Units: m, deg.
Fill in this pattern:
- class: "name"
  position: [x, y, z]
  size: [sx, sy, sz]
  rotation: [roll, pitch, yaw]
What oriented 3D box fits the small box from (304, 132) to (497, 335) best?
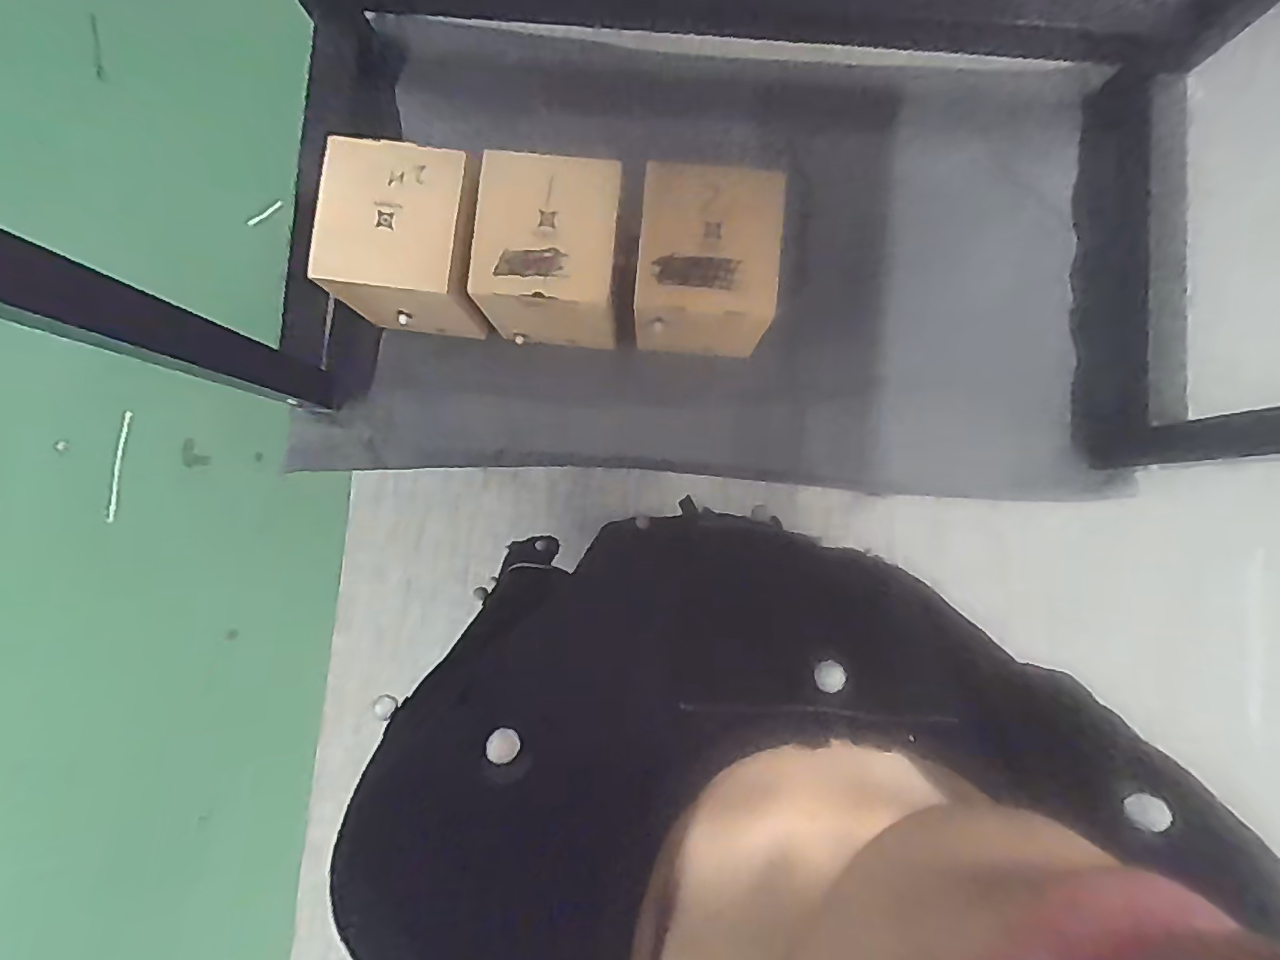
- class: "small box"
  position: [-0.293, -0.302, 0.699]
  size: [0.168, 0.176, 0.179]
  rotation: [7, 86, -1]
